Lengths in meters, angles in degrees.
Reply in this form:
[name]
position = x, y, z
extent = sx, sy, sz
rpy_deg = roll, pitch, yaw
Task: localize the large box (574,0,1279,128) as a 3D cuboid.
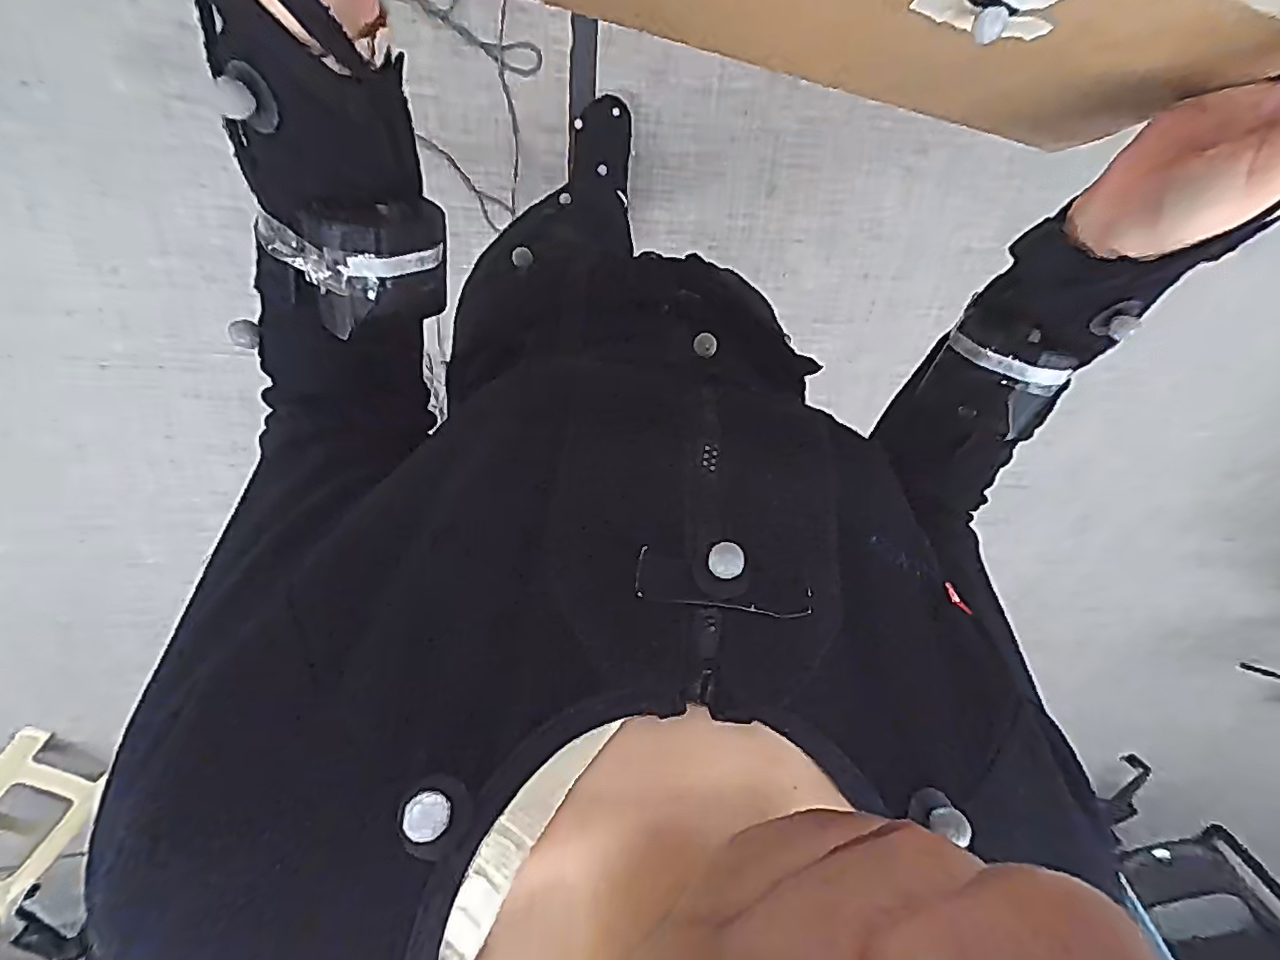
[large box]
position = 0.106, -0.347, 0.125
extent = 0.408, 0.320, 0.320
rpy_deg = 7, 106, -10
